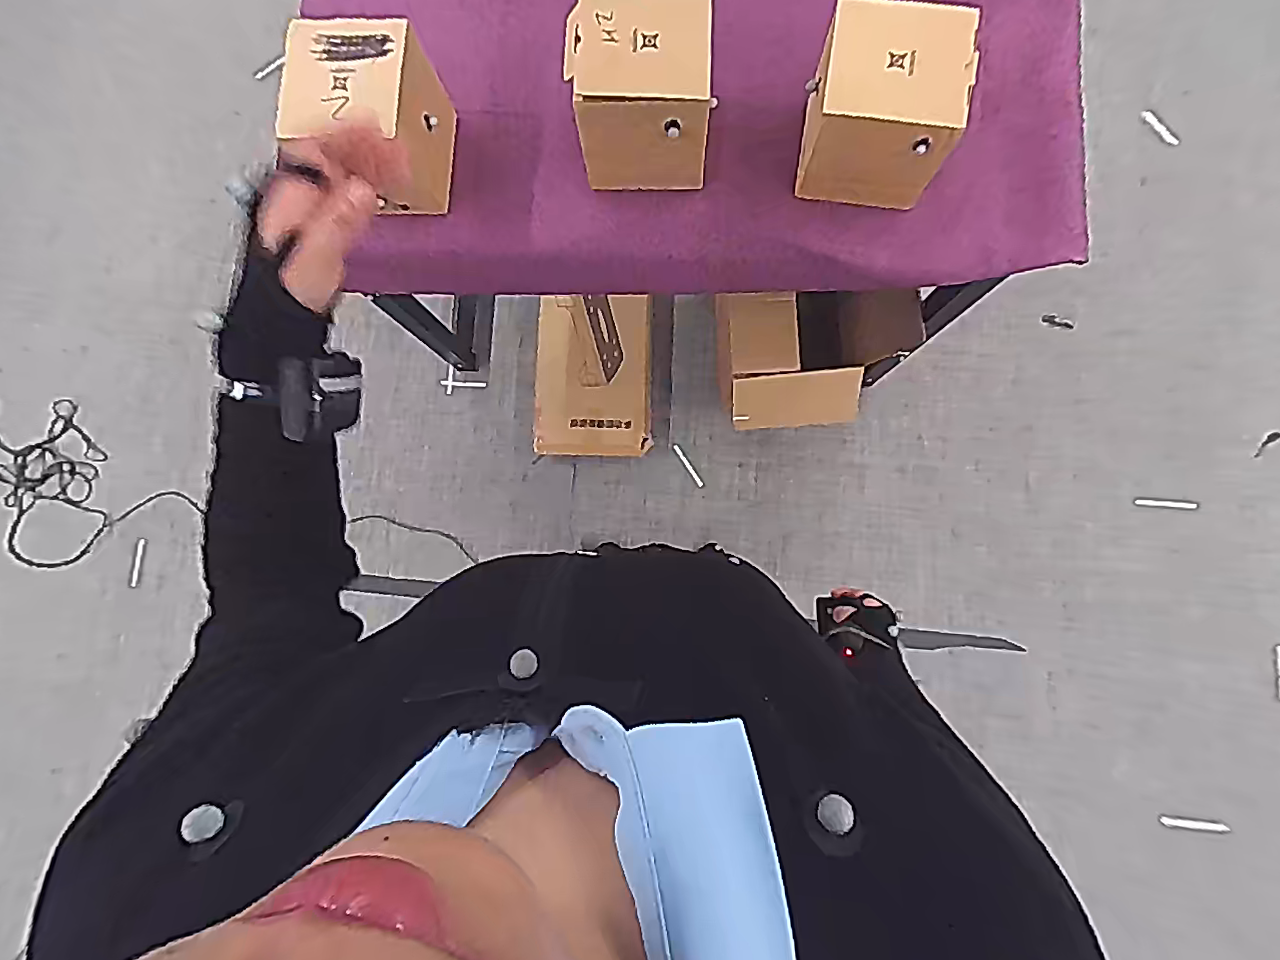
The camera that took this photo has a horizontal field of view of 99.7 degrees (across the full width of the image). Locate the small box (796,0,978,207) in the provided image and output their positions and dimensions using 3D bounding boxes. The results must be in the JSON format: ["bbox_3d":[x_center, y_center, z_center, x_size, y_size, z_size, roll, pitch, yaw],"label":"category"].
[{"bbox_3d":[0.324,-0.505,0.743,0.179,0.176,0.168,9,84,4],"label":"small box"}]

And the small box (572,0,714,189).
[{"bbox_3d":[0.008,-0.538,0.763,0.179,0.176,0.168,2,81,3],"label":"small box"}]
